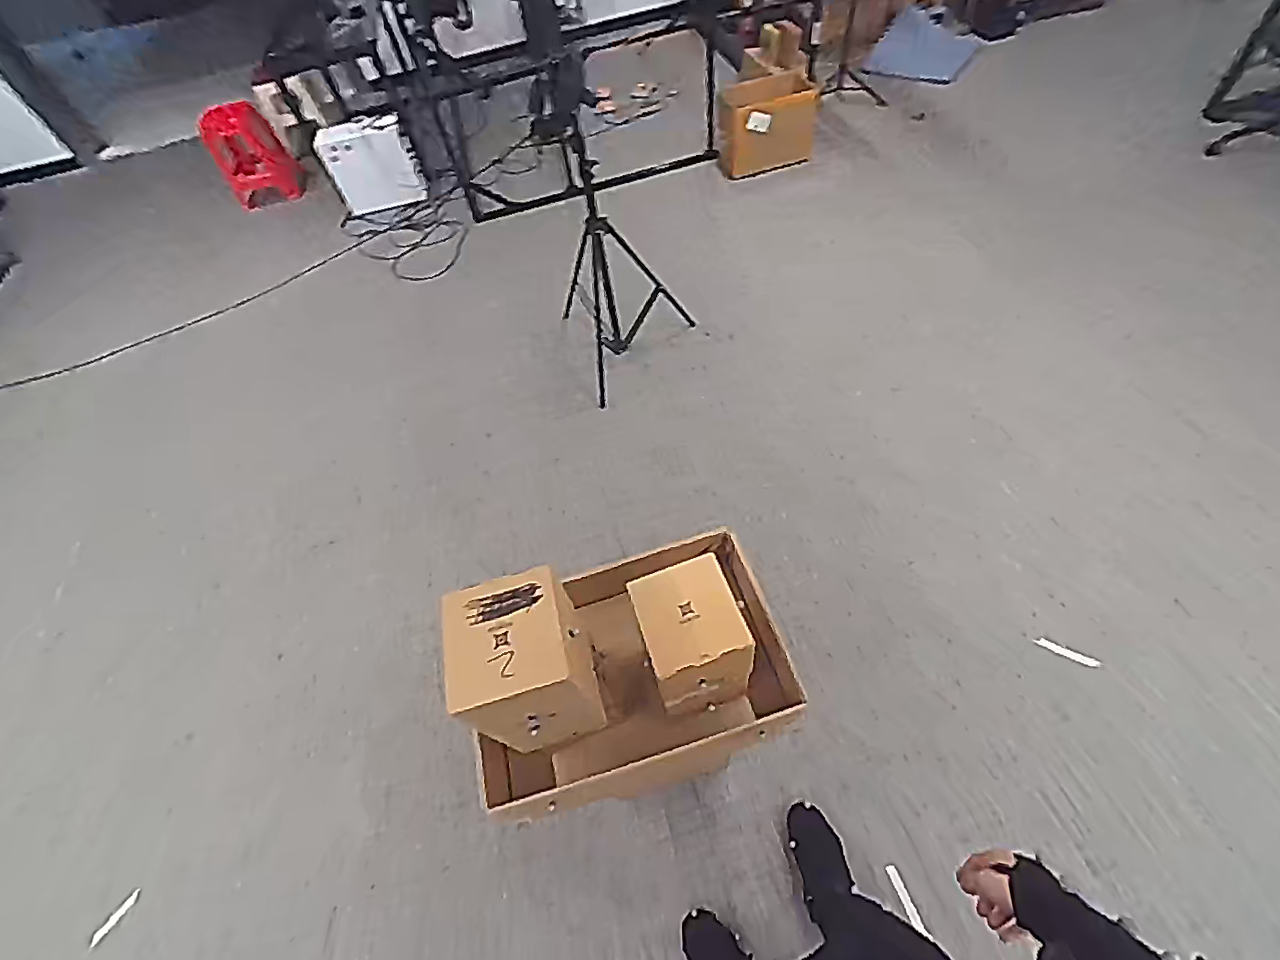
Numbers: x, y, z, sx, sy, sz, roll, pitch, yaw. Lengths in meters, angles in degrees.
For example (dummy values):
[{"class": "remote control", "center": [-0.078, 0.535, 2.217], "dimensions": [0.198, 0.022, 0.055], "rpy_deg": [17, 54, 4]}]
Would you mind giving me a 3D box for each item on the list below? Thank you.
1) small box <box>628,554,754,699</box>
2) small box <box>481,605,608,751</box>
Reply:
[{"class": "small box", "center": [0.089, 0.265, 0.967], "dimensions": [0.168, 0.176, 0.179], "rpy_deg": [-19, 56, -4]}, {"class": "small box", "center": [-0.165, 0.350, 0.949], "dimensions": [0.168, 0.176, 0.179], "rpy_deg": [-17, 54, -2]}]
